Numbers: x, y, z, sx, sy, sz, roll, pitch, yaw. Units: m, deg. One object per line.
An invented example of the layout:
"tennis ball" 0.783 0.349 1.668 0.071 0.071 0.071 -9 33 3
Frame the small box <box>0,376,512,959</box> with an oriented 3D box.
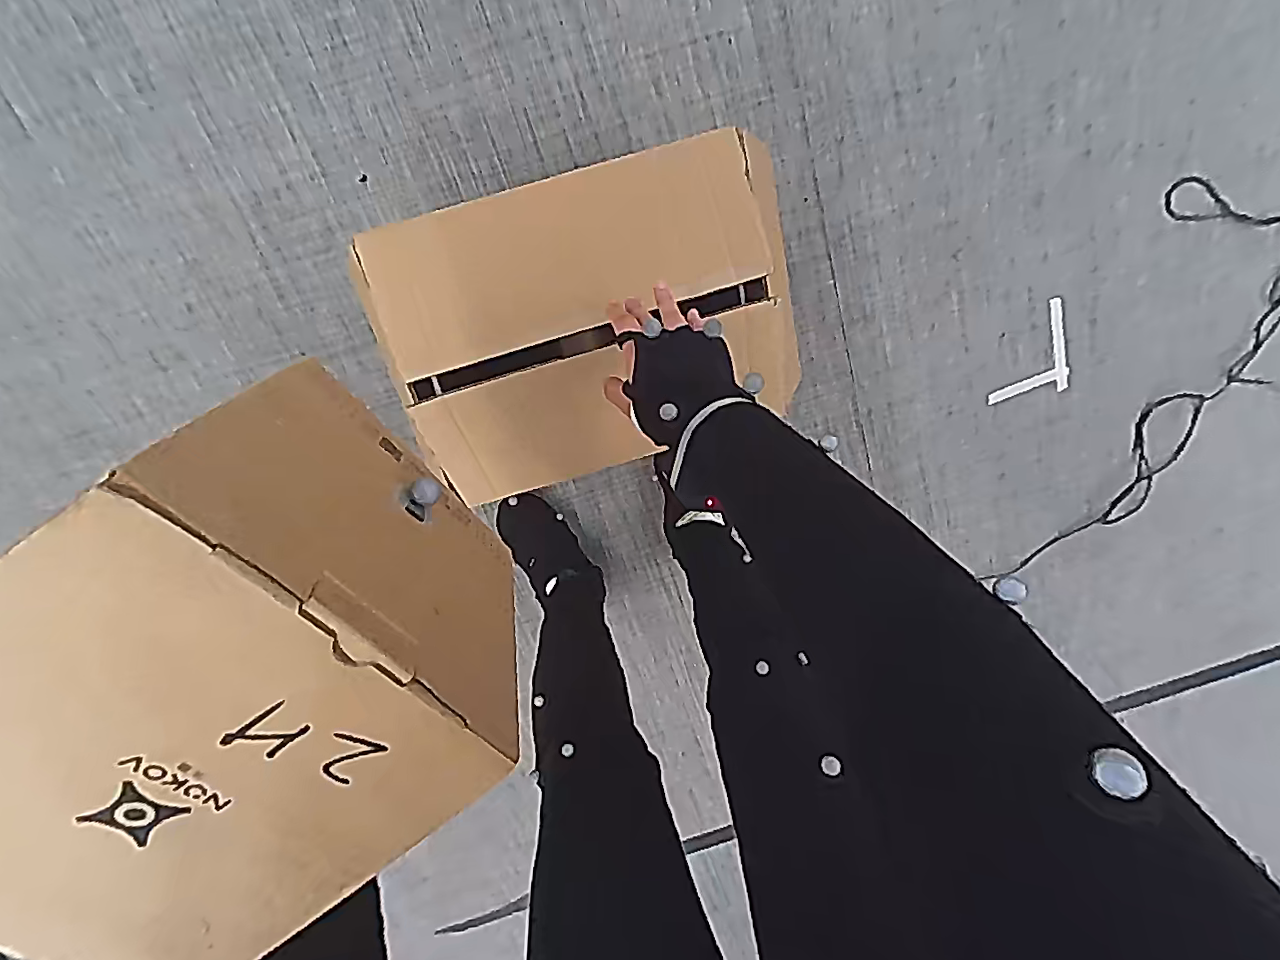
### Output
"small box" -0.180 0.076 0.260 0.179 0.176 0.168 -37 117 2
